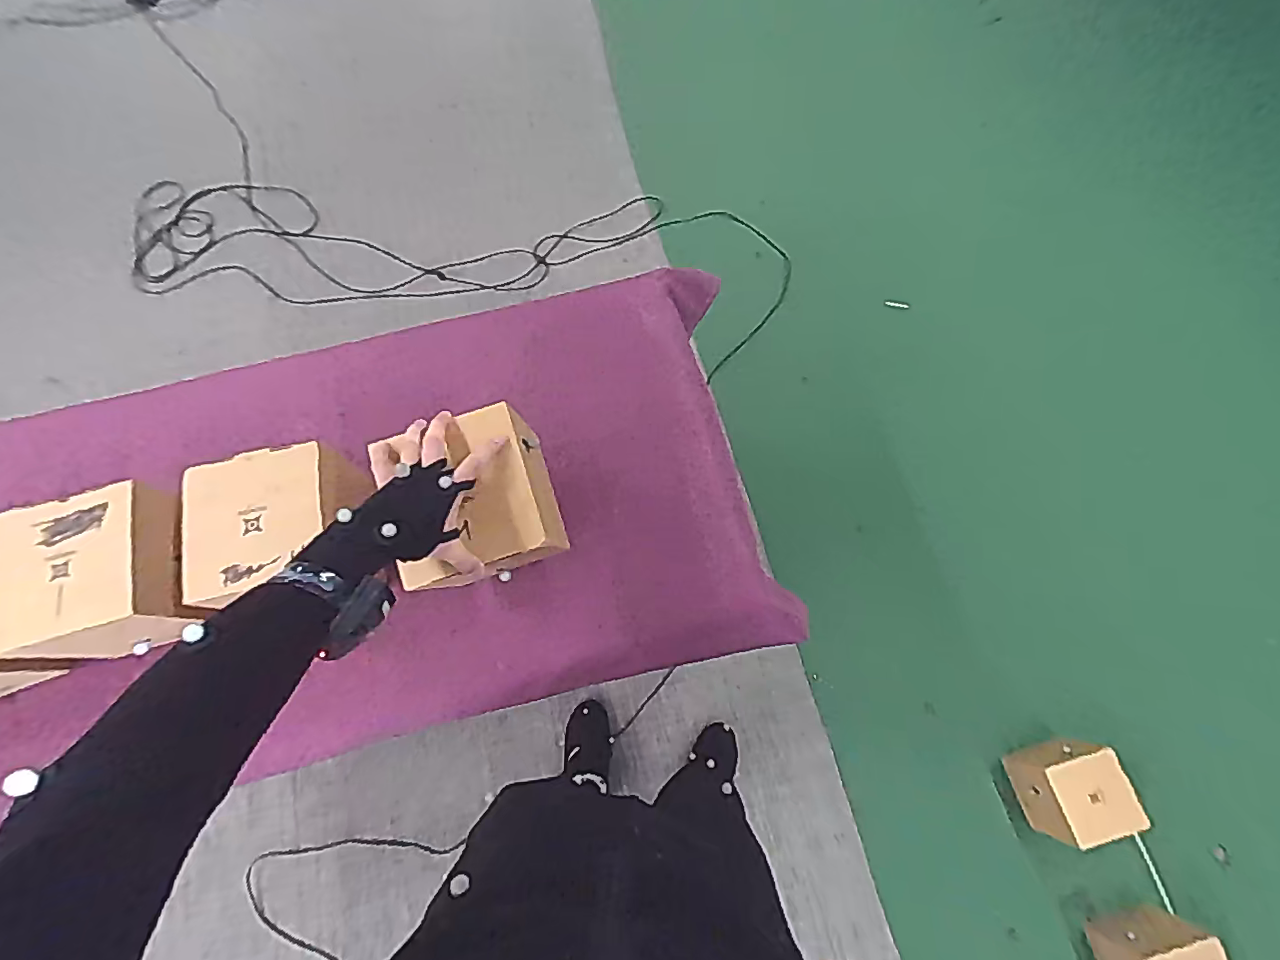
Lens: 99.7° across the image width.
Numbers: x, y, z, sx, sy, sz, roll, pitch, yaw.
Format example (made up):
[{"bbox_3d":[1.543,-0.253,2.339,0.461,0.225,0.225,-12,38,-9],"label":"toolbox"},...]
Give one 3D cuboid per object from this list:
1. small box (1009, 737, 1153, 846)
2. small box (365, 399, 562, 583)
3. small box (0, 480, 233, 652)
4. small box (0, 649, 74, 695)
[{"bbox_3d":[1.013,0.720,1.269,0.179,0.176,0.168,-15,72,-5],"label":"small box"},{"bbox_3d":[-0.211,0.022,0.685,0.168,0.176,0.179,-18,81,0],"label":"small box"},{"bbox_3d":[-0.688,0.123,0.724,0.168,0.176,0.179,-16,74,-4],"label":"small box"},{"bbox_3d":[-0.904,0.192,0.705,0.168,0.176,0.179,-20,74,-5],"label":"small box"}]
